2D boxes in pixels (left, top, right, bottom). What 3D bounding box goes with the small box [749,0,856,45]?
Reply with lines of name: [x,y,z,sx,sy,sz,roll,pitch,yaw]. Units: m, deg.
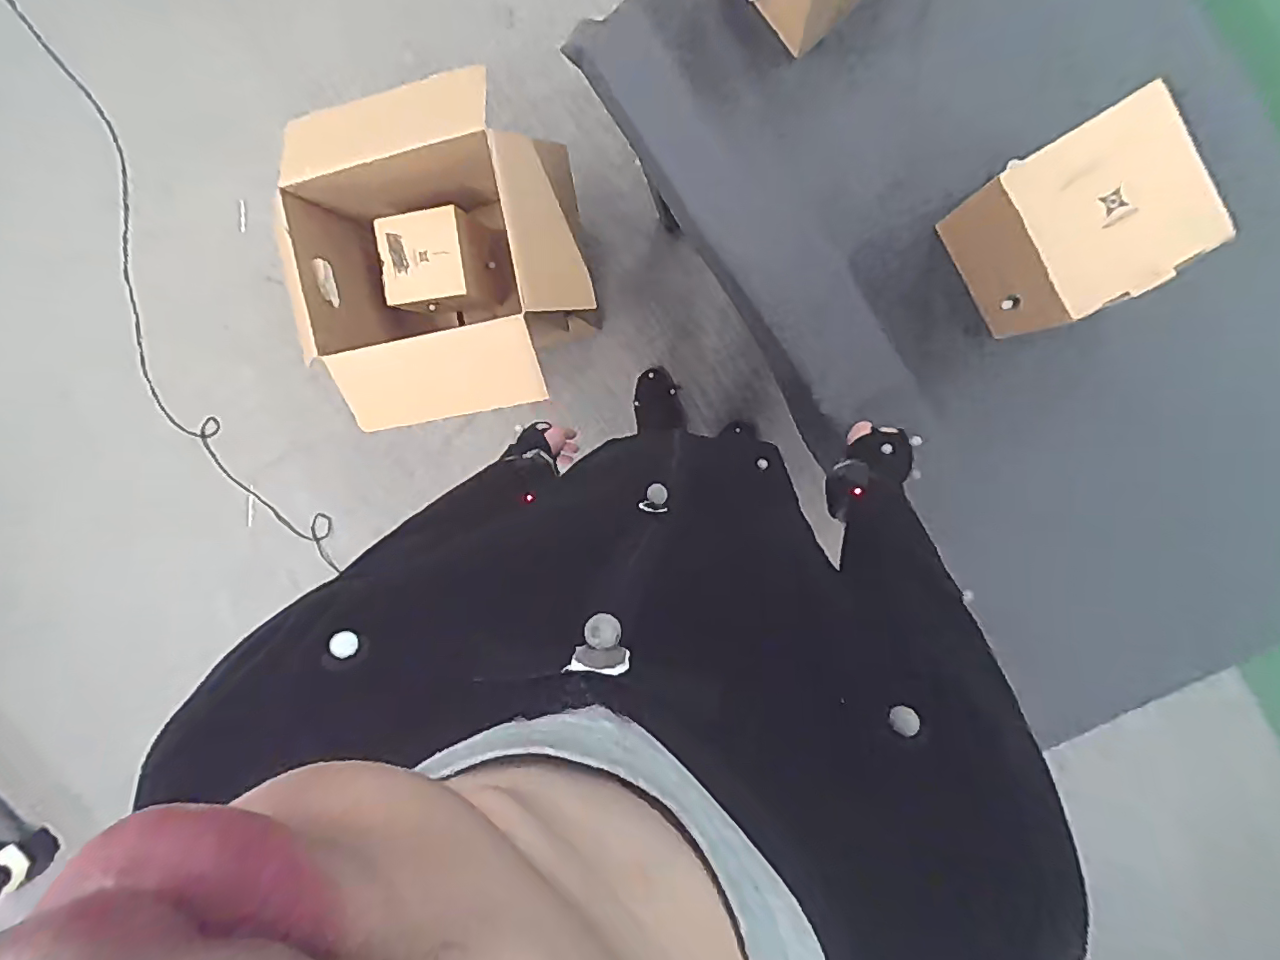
small box: [0.202,-0.649,0.609,0.168,0.176,0.179,-38,93,11]

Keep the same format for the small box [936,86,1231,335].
small box: [0.485,-0.284,0.624,0.168,0.176,0.179,-30,92,10]
